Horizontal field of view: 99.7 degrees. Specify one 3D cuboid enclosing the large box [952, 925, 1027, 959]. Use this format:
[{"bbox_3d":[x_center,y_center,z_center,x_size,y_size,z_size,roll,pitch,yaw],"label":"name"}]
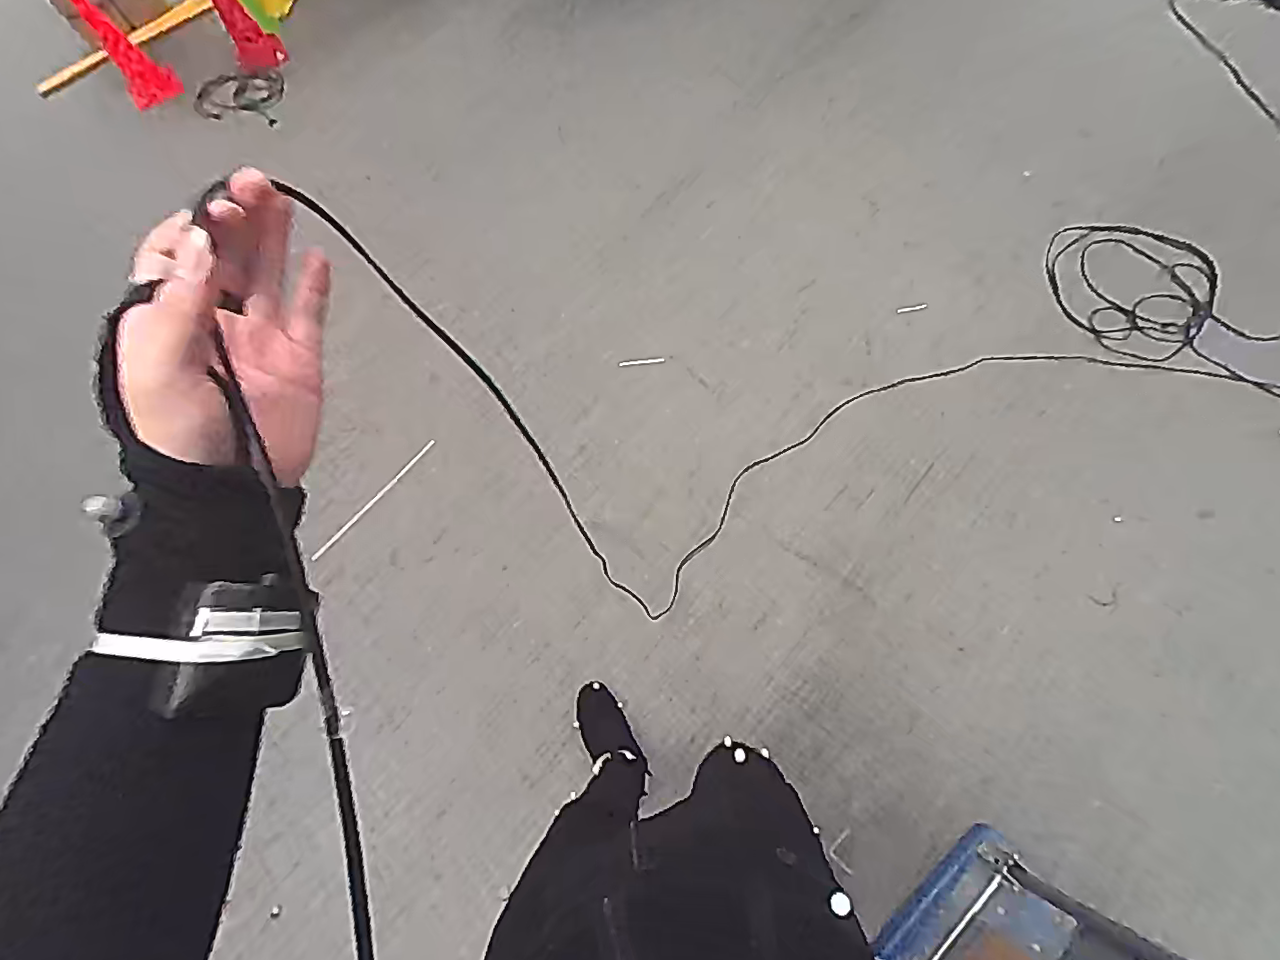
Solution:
[{"bbox_3d":[0.700,1.059,0.855,0.320,0.320,0.408,-42,74,-11],"label":"large box"}]
